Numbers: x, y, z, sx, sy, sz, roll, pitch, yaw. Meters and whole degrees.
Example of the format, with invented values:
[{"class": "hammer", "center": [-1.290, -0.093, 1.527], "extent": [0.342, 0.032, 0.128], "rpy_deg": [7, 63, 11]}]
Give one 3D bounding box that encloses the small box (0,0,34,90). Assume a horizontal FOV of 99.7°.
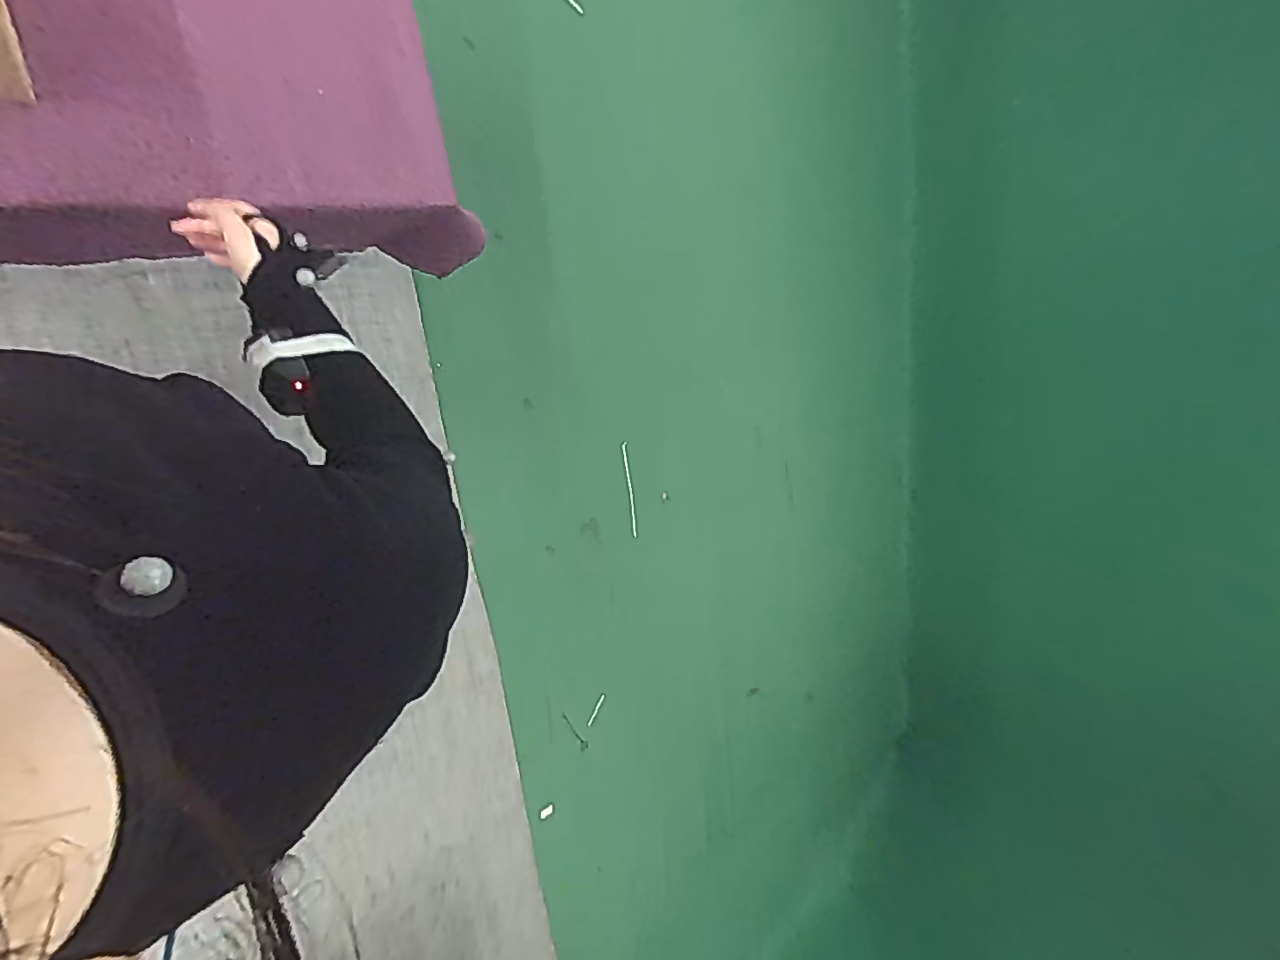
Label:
[{"class": "small box", "center": [-0.595, -0.417, 0.385], "extent": [0.179, 0.176, 0.168], "rpy_deg": [-16, 107, -39]}]
